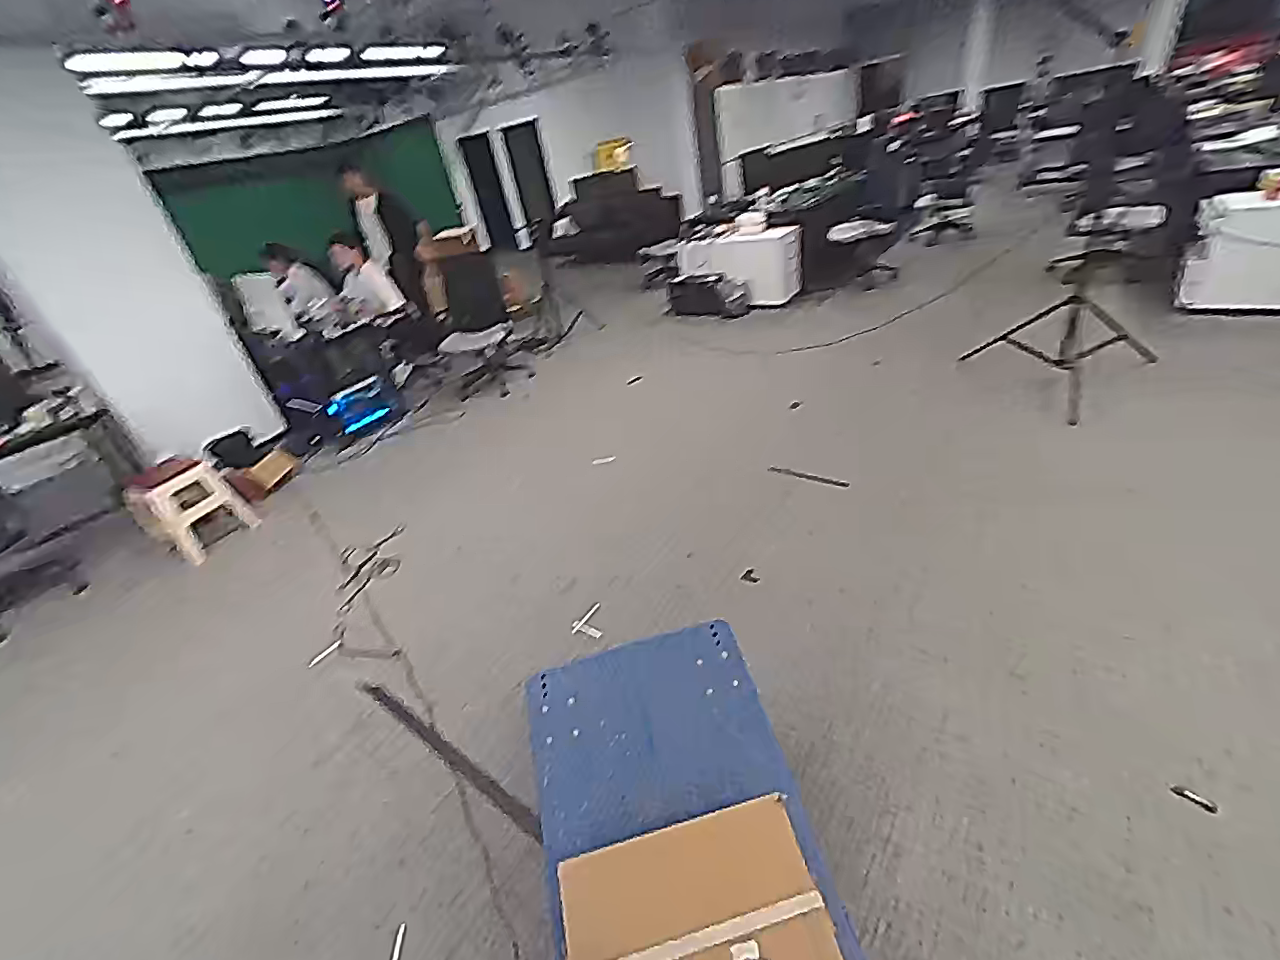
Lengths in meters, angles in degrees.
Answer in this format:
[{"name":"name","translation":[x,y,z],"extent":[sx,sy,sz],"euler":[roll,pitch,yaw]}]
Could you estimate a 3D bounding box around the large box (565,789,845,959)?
[{"name":"large box","translation":[0.111,0.816,0.964],"extent":[0.408,0.320,0.320],"euler":[-15,49,-6]}]
